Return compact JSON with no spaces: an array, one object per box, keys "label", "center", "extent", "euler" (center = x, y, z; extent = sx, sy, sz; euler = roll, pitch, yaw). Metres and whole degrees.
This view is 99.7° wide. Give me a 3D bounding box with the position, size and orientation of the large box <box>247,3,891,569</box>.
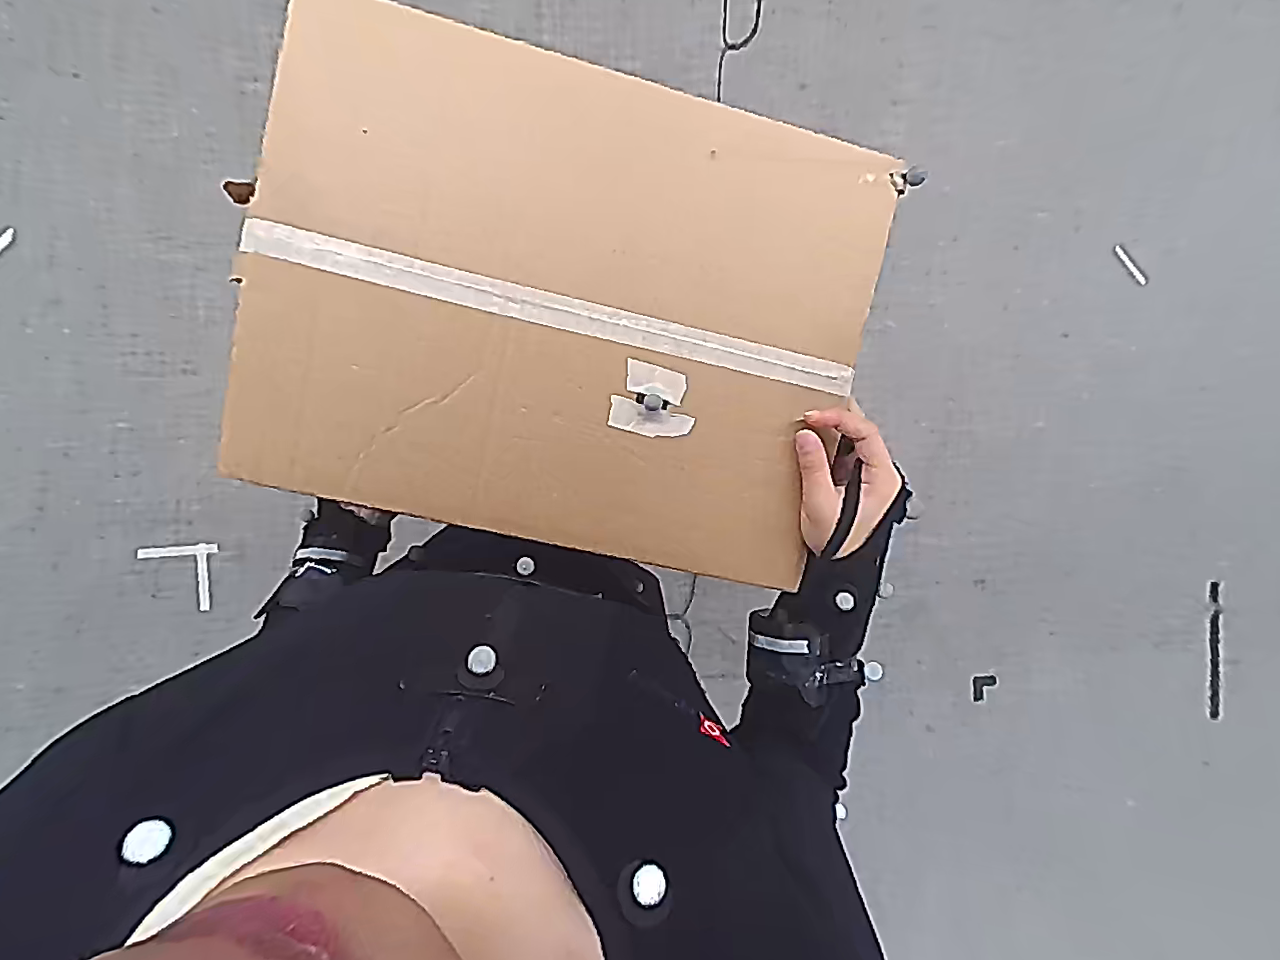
[{"label":"large box","center":[-0.059,-0.131,0.520],"extent":[0.408,0.320,0.320],"euler":[12,96,-7]}]
